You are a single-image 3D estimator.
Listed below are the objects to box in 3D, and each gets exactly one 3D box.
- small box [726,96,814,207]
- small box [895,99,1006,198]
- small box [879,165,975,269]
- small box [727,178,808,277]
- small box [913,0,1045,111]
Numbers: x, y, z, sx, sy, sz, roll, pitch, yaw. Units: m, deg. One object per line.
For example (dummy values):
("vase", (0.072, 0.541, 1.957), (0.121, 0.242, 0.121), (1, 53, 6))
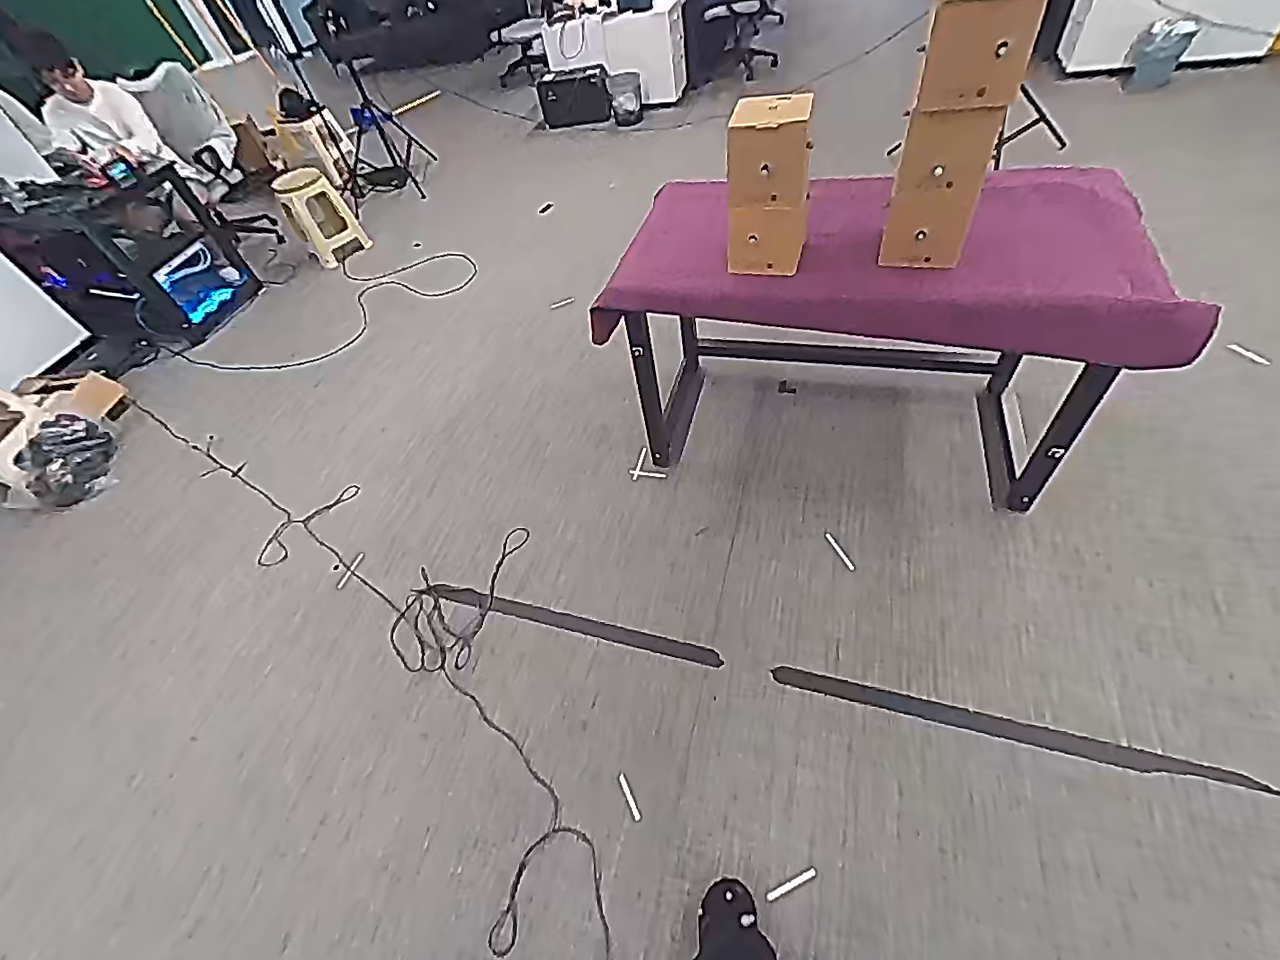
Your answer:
("small box", (0.292, -0.730, 1.214), (0.168, 0.176, 0.179), (7, 52, 16))
("small box", (0.642, -0.716, 1.134), (0.168, 0.176, 0.179), (10, 54, 19))
("small box", (0.663, -0.611, 1.258), (0.168, 0.176, 0.179), (11, 53, 18))
("small box", (0.315, -0.621, 1.334), (0.168, 0.176, 0.179), (9, 52, 17))
("small box", (0.614, -0.801, 0.997), (0.168, 0.176, 0.179), (8, 52, 16))
